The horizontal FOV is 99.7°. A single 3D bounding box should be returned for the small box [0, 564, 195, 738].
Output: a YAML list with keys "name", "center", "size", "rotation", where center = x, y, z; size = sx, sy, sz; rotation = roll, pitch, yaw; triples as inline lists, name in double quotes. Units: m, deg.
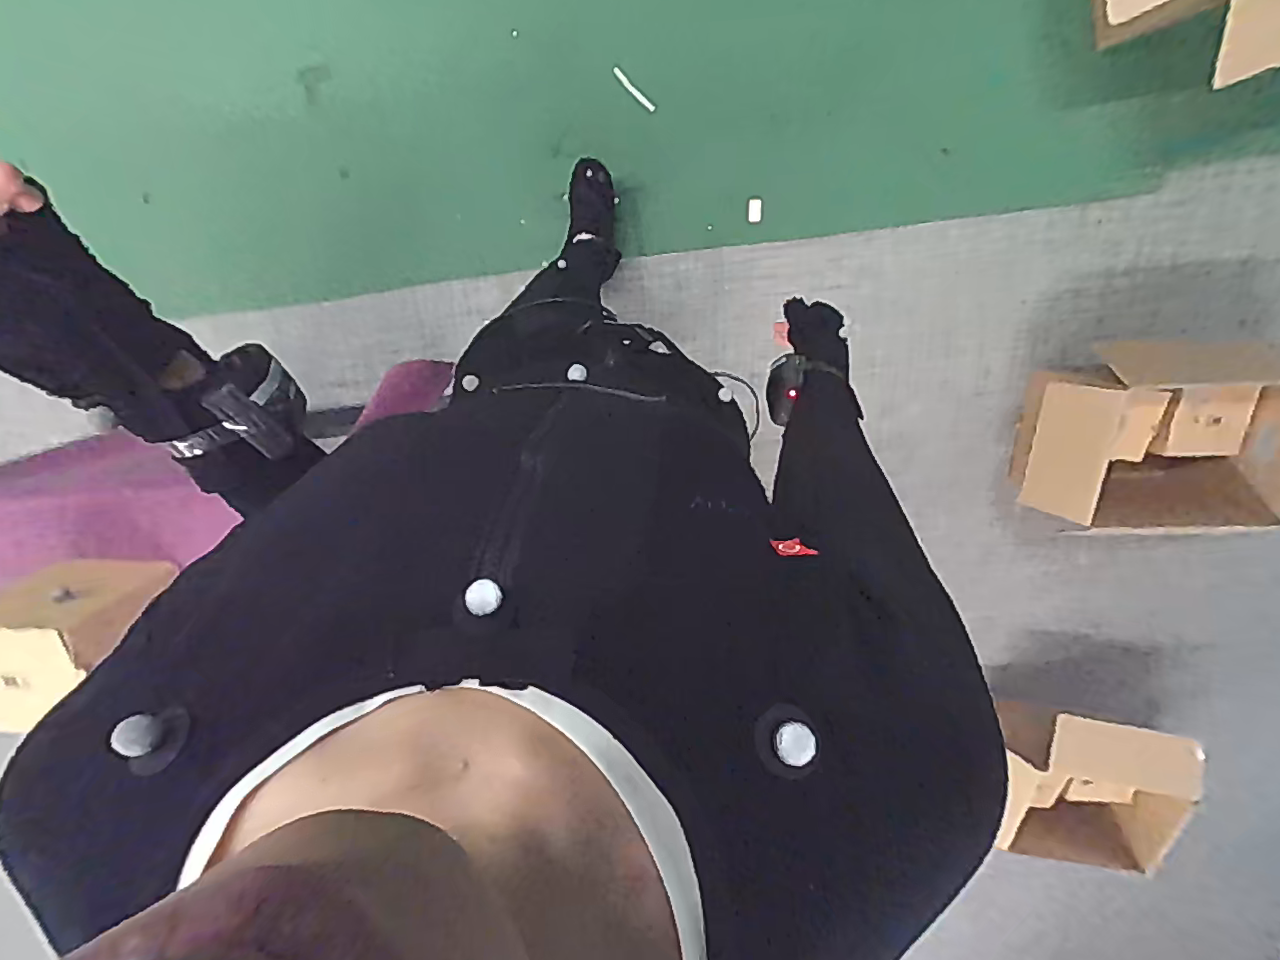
- name: "small box"
  center: [-0.768, 0.228, 0.748]
  size: [0.179, 0.176, 0.168]
  rotation: [1, 110, 1]
